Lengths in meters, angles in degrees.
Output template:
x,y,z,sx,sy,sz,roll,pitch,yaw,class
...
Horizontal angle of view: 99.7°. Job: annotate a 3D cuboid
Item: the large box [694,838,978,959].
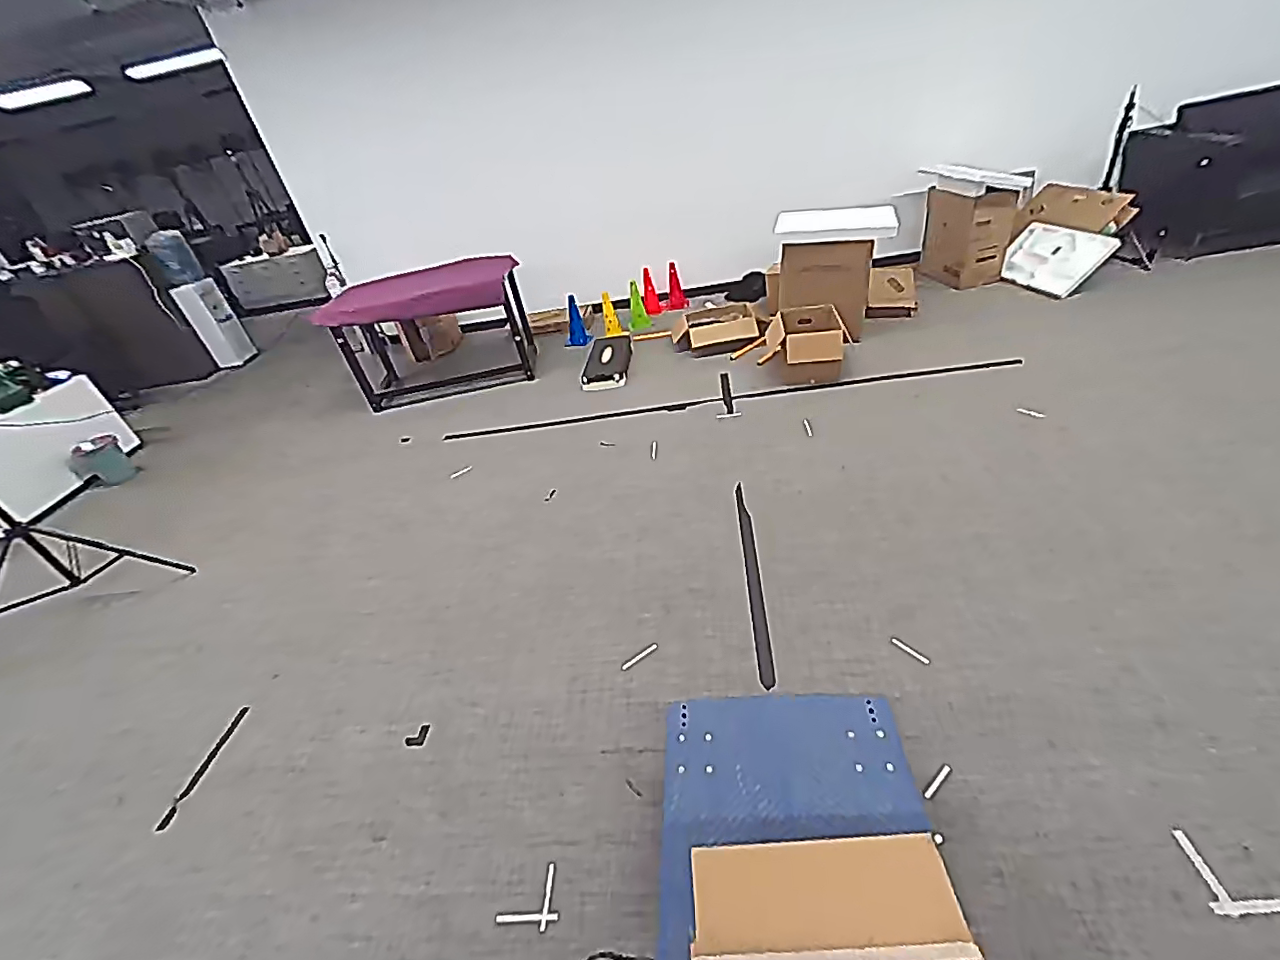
x,y,z,sx,sy,sz,roll,pitch,yaw,class
0.311,0.832,0.878,0.408,0.320,0.320,-7,36,5,large box
